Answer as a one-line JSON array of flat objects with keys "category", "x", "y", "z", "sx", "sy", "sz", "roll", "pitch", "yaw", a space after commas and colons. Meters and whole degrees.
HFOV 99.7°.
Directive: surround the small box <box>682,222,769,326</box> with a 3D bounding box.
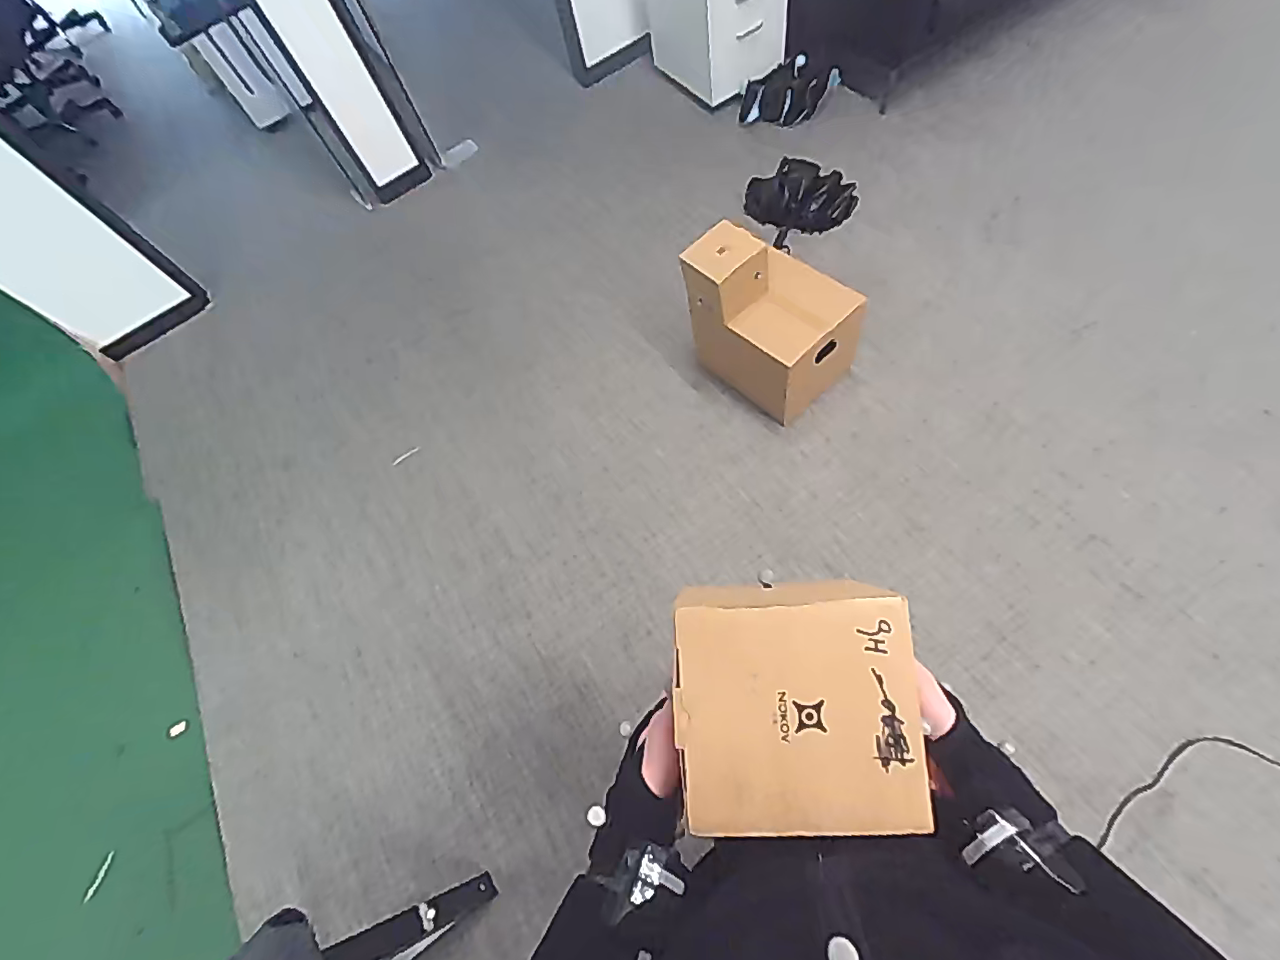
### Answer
[{"category": "small box", "x": 0.244, "y": -0.575, "z": 1.523, "sx": 0.179, "sy": 0.176, "sz": 0.168, "roll": -41, "pitch": 62, "yaw": -5}]
